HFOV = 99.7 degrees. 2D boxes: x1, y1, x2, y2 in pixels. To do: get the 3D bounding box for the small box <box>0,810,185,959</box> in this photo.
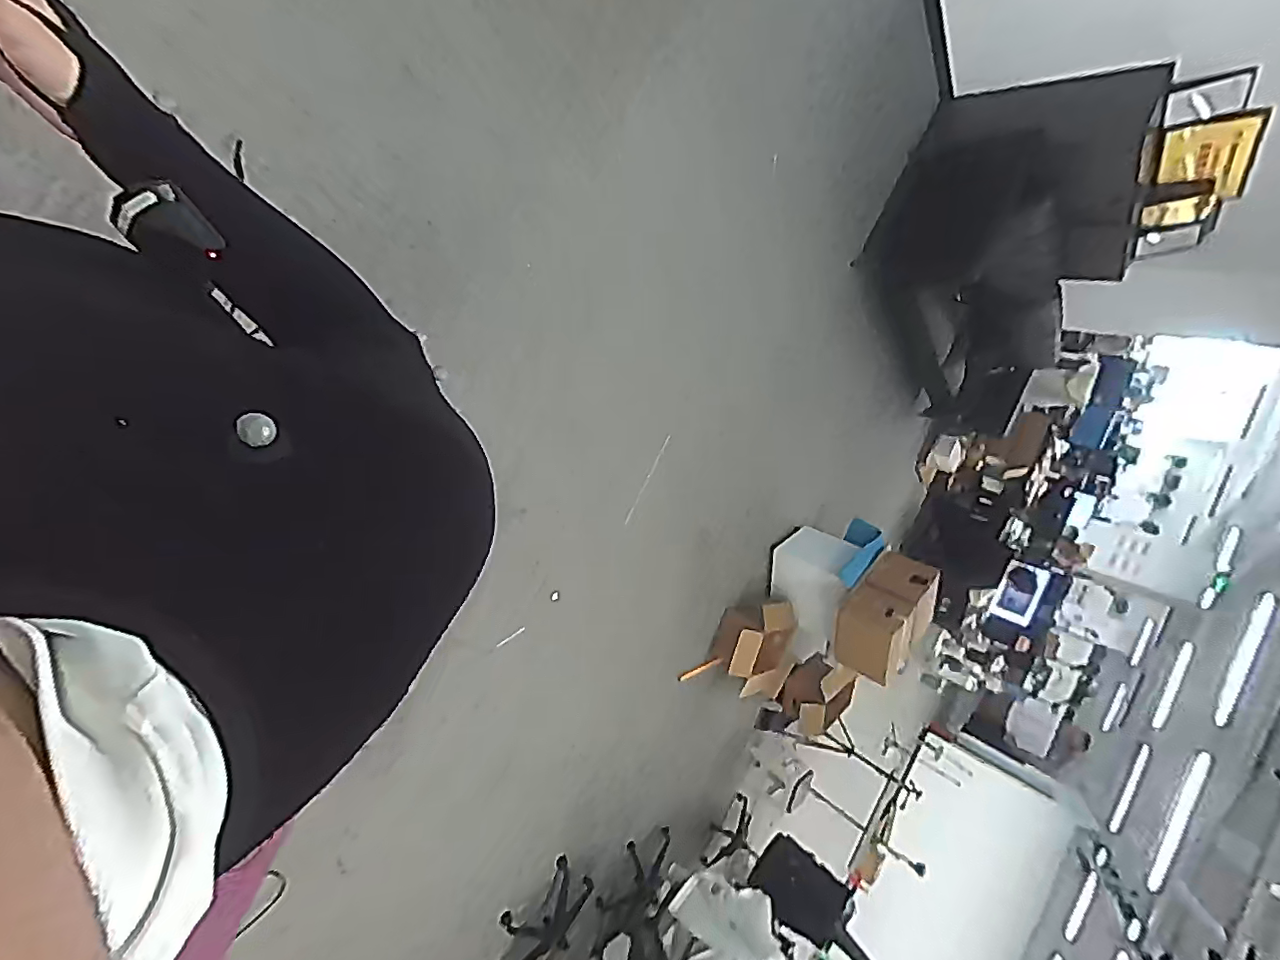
[{"bbox_3d":[-0.772,0.593,0.737,0.179,0.176,0.168,23,91,-50],"label":"small box"}]
